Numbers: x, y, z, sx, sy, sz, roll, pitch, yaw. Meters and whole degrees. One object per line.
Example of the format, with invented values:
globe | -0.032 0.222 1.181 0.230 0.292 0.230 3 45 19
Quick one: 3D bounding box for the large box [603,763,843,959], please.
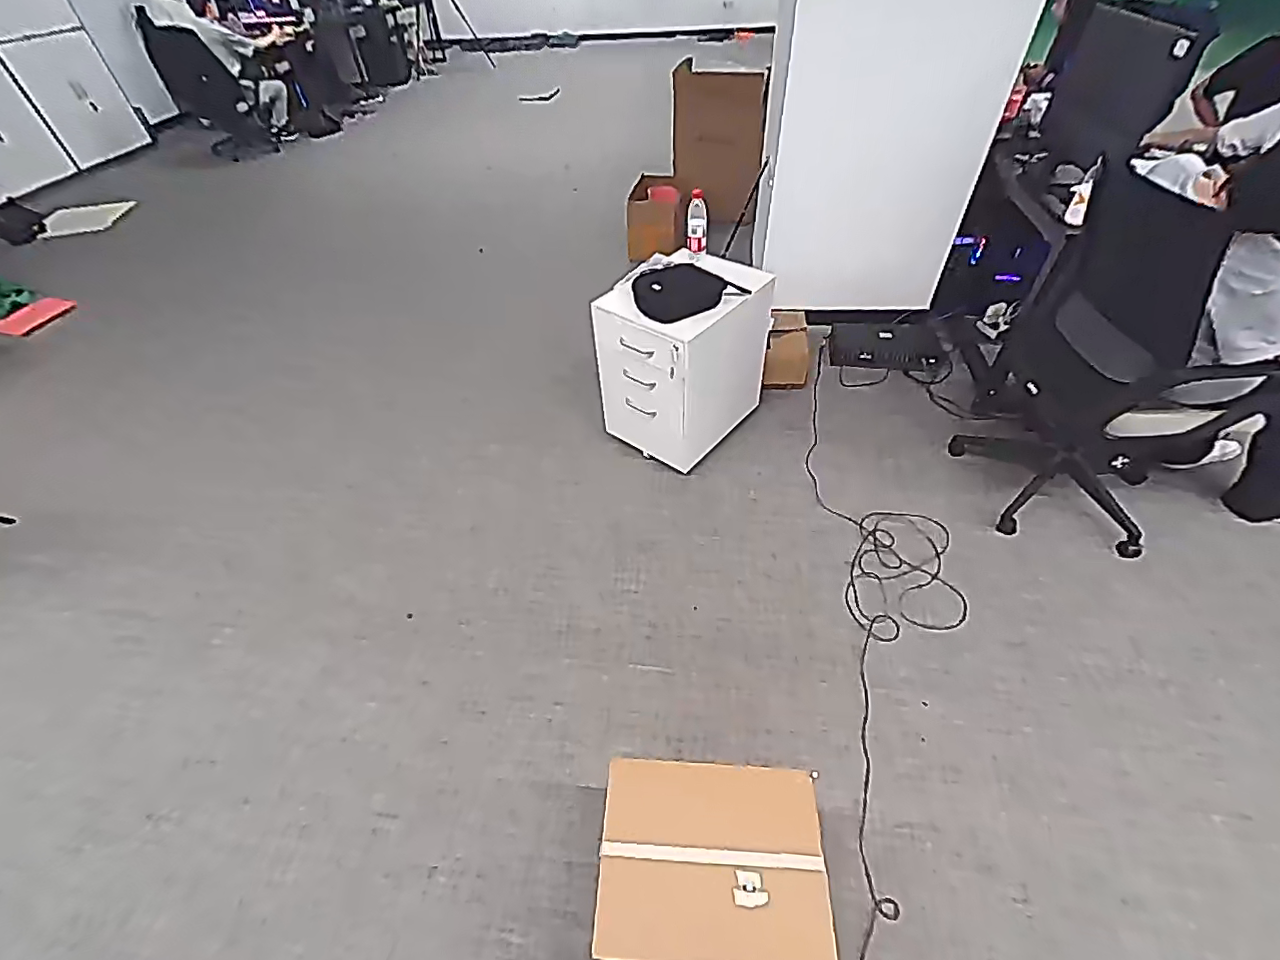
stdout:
large box | 0.146 0.796 1.093 0.408 0.320 0.320 1 46 4
